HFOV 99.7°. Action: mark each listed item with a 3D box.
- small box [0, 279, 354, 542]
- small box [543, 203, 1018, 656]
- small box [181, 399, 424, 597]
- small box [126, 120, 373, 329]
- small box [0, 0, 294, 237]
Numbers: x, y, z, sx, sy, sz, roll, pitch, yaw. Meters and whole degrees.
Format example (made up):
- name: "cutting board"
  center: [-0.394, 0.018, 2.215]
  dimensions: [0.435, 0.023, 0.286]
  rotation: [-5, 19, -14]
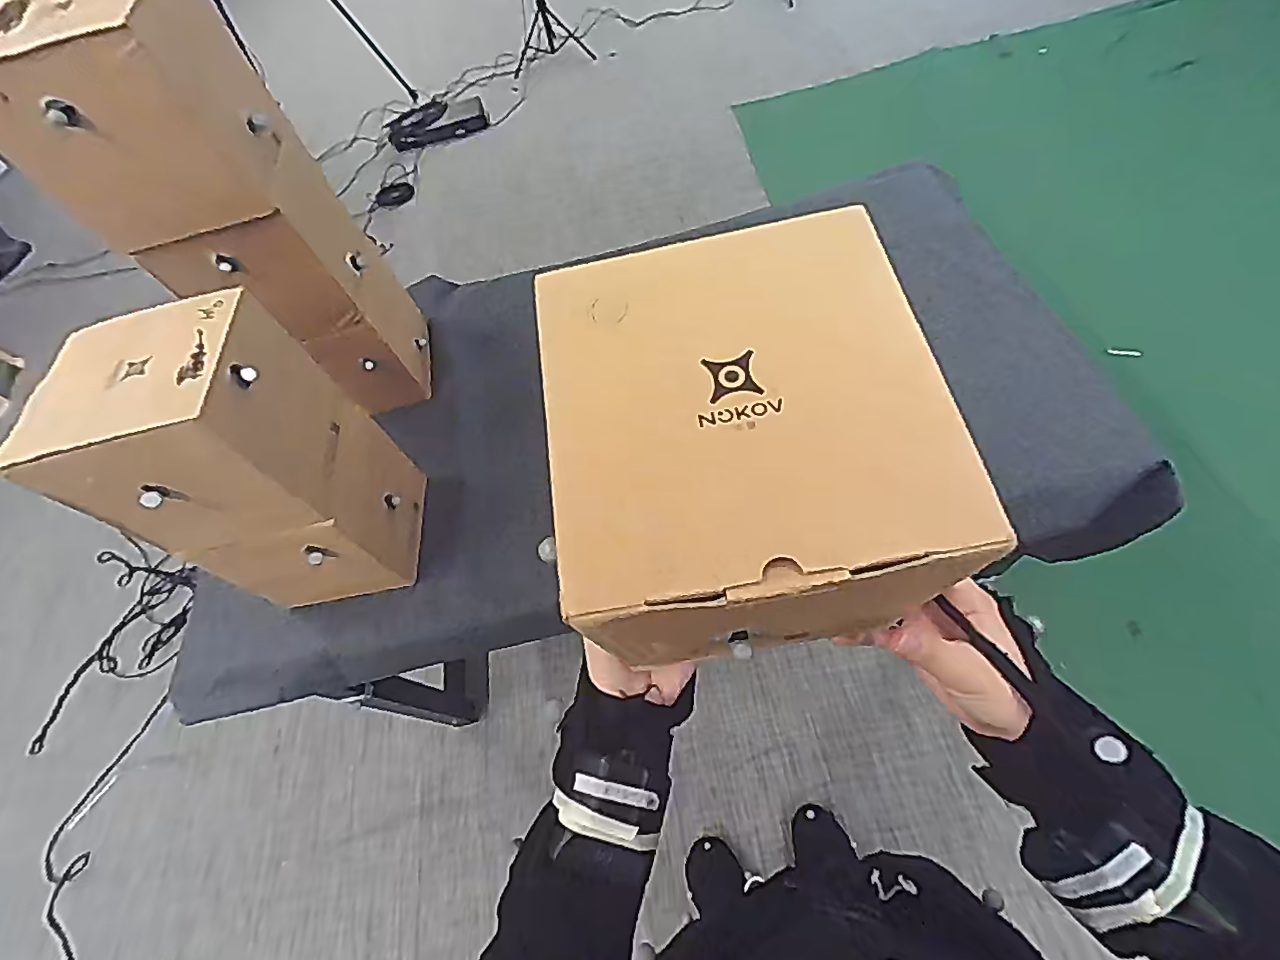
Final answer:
- name: "small box"
  center: [-0.419, -0.057, 0.527]
  dimensions: [0.179, 0.176, 0.168]
  rotation: [-14, 58, 3]
- name: "small box"
  center: [0.052, -0.010, 0.302]
  dimensions: [0.168, 0.176, 0.179]
  rotation: [-11, 66, 3]
- name: "small box"
  center: [-0.388, 0.029, 0.663]
  dimensions: [0.179, 0.176, 0.168]
  rotation: [-11, 57, 4]
- name: "small box"
  center: [-0.465, -0.300, 0.675]
  dimensions: [0.179, 0.176, 0.168]
  rotation: [-15, 62, 0]
- name: "small box"
  center: [-0.485, -0.369, 0.528]
  dimensions: [0.179, 0.176, 0.168]
  rotation: [-14, 62, 2]
